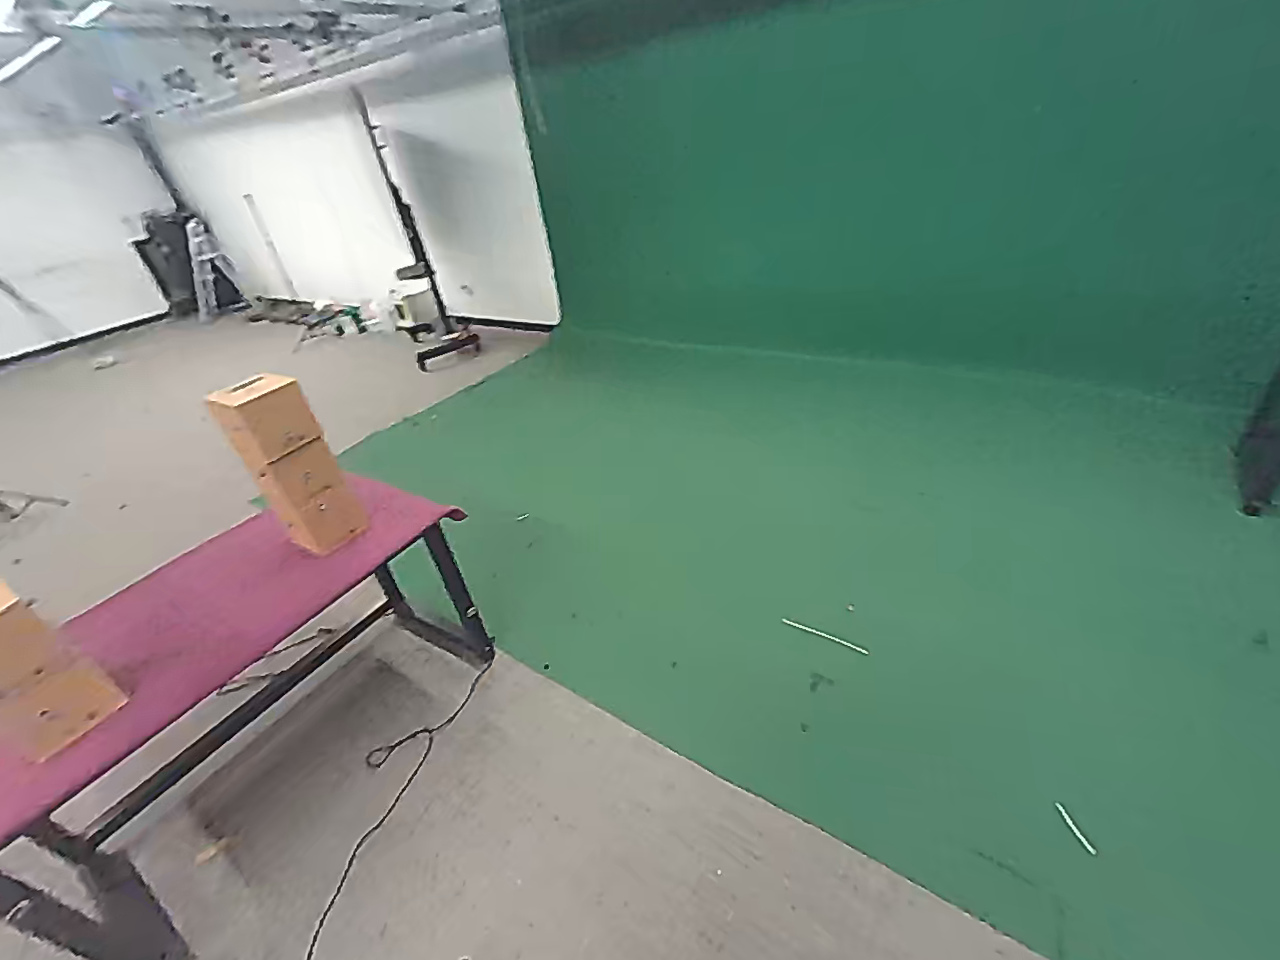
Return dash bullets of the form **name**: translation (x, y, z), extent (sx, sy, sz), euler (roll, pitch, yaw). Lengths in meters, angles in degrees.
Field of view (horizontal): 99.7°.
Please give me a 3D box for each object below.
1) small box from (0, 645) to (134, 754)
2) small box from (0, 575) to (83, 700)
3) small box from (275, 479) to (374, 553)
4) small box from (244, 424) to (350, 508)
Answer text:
- **small box**: translation (-1.273, 0.461, 1.180), extent (0.179, 0.176, 0.168), euler (12, 39, 29)
- **small box**: translation (-1.294, 0.325, 1.089), extent (0.179, 0.176, 0.168), euler (12, 39, 30)
- **small box**: translation (-0.952, 0.097, 1.641), extent (0.179, 0.176, 0.168), euler (13, 41, 31)
- **small box**: translation (-0.977, -0.039, 1.551), extent (0.179, 0.176, 0.168), euler (14, 40, 32)
